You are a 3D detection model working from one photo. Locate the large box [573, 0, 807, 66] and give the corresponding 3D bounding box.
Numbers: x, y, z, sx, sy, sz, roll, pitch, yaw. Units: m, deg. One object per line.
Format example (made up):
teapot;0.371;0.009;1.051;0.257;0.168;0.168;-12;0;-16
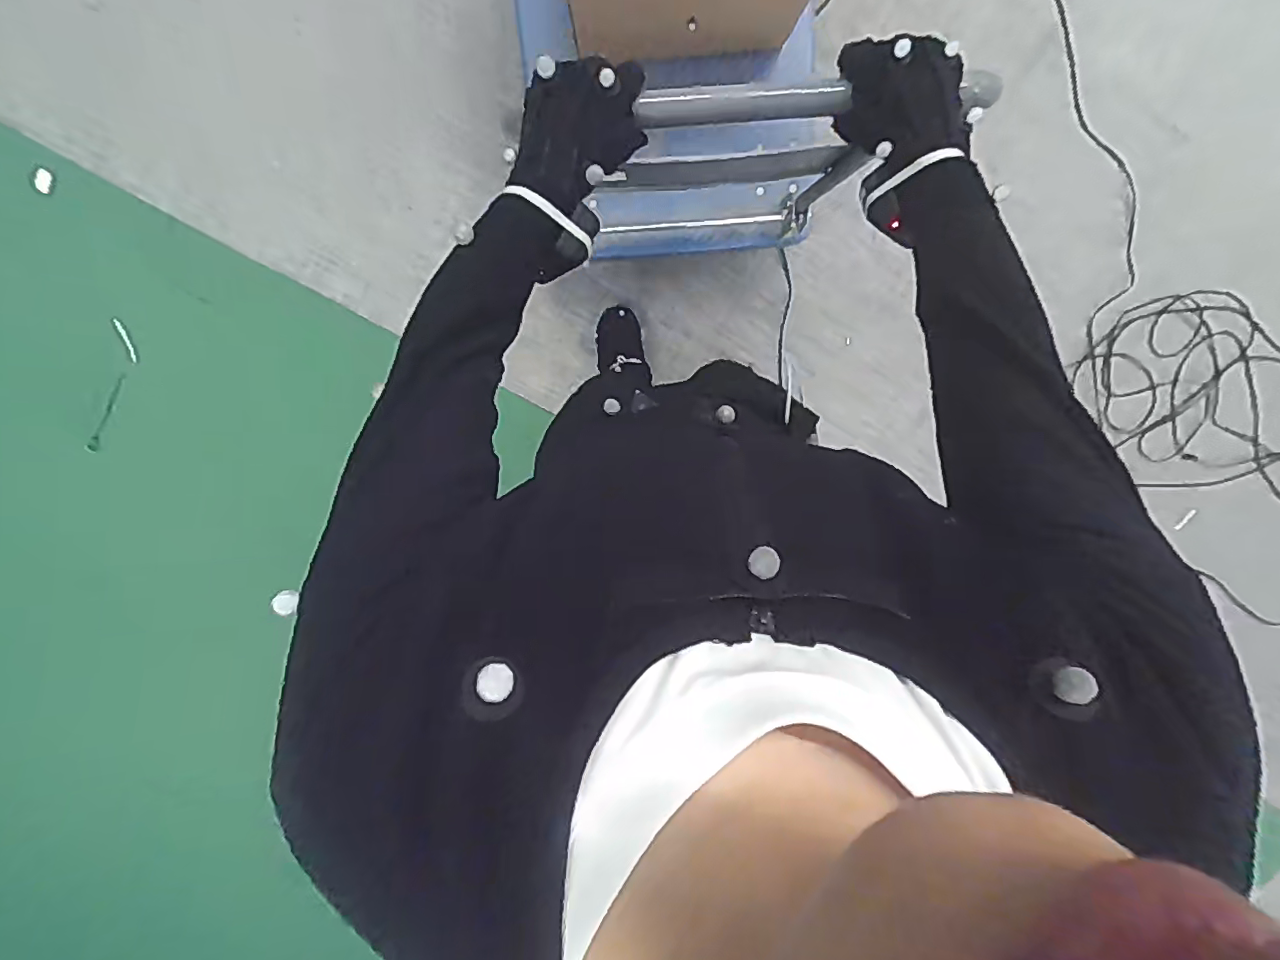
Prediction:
large box;0.075;-0.941;0.887;0.408;0.320;0.320;-6;106;0
